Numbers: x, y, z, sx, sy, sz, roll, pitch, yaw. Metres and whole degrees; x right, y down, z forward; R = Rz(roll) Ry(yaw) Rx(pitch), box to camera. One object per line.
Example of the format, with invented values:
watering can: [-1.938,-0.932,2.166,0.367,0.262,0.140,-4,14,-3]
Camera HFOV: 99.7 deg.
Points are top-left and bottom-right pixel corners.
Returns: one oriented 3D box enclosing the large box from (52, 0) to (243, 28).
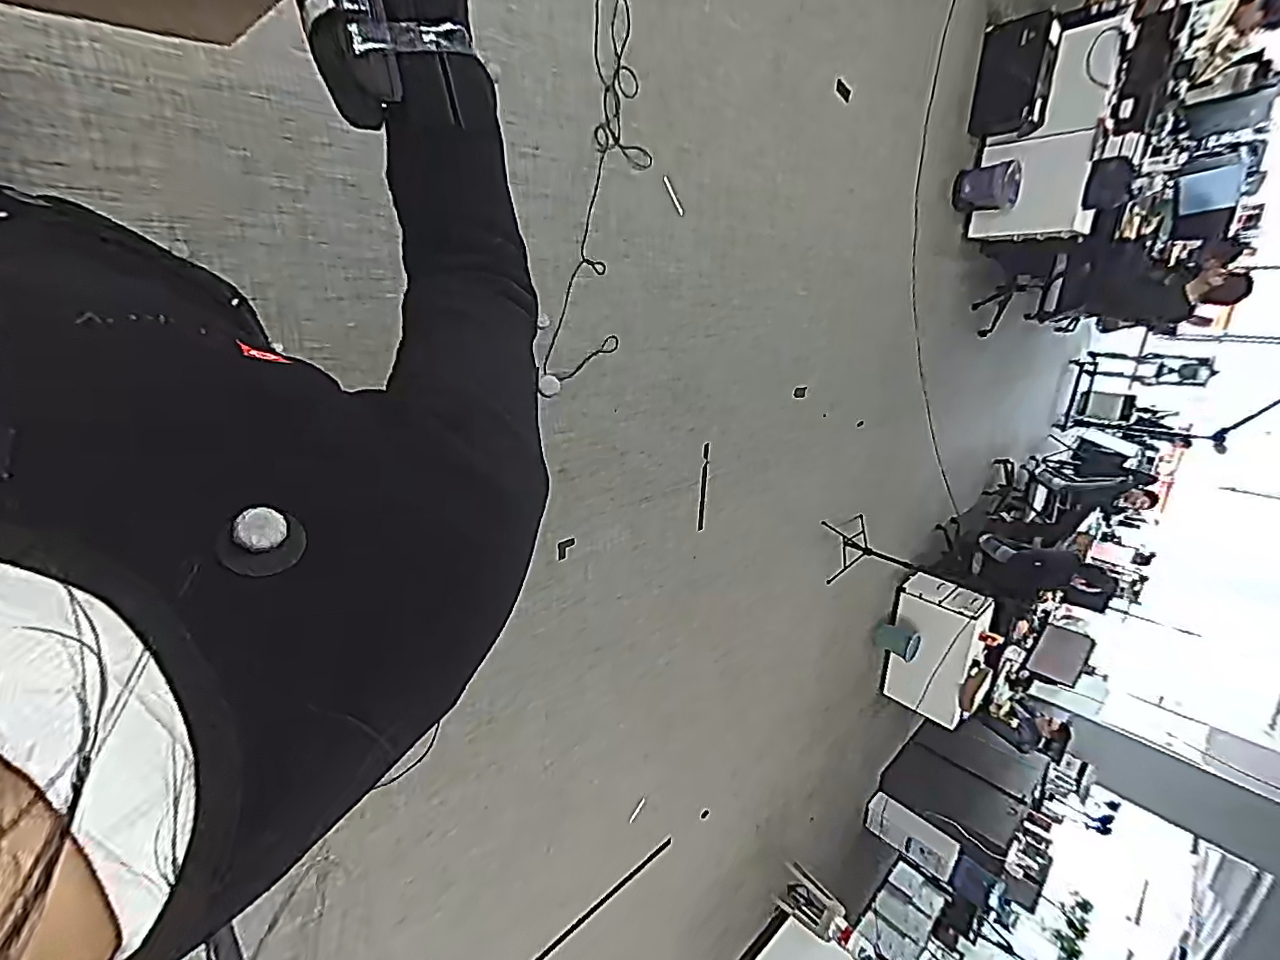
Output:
large box: [-0.413,-0.422,0.196,0.408,0.320,0.320,-21,127,-39]
